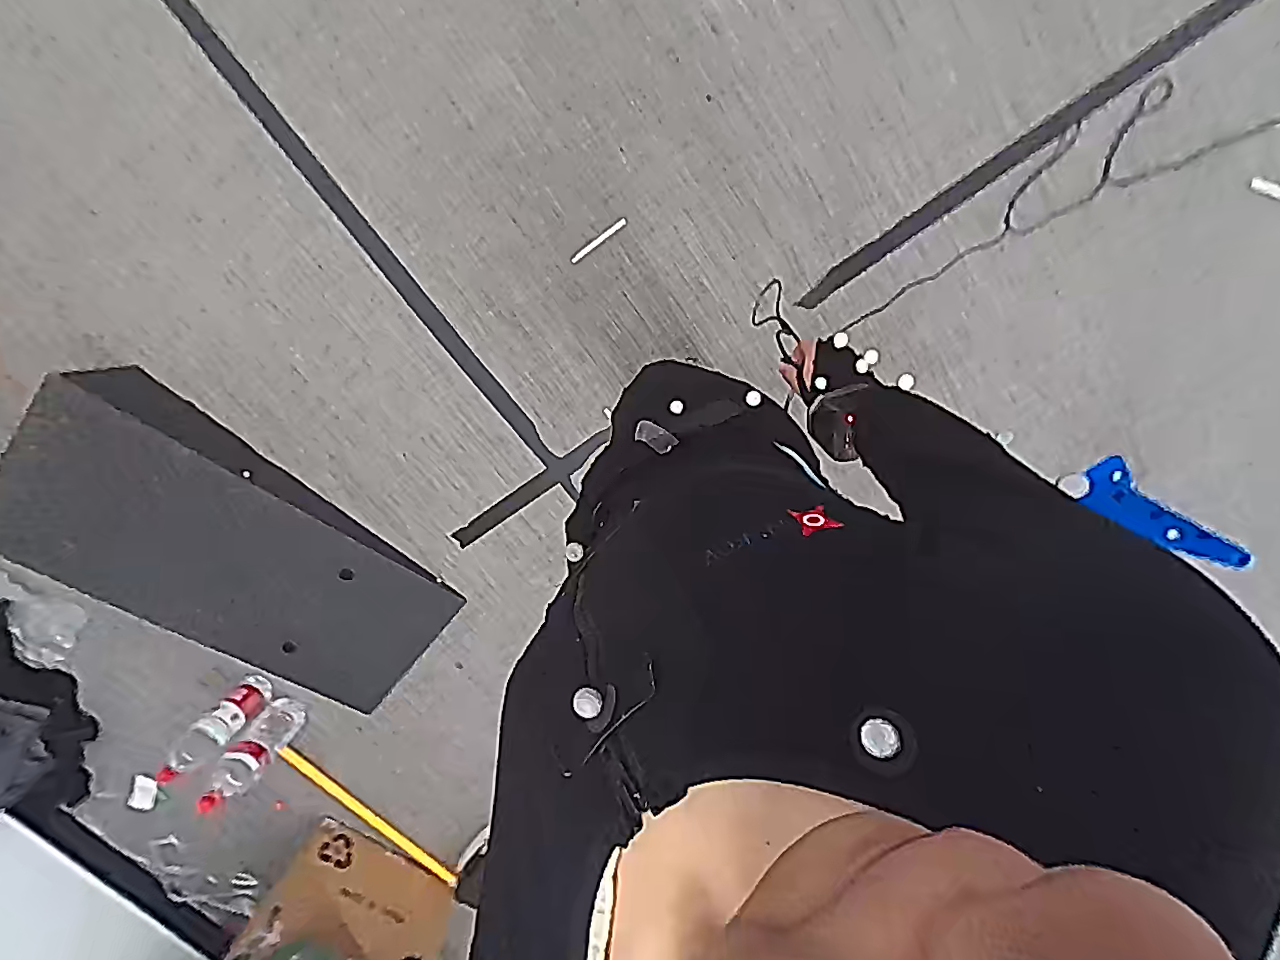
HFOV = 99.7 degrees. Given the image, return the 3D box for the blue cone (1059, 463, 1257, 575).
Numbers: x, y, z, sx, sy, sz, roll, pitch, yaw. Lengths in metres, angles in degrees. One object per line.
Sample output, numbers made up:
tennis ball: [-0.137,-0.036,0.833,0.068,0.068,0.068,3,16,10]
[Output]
blue cone: [1.213,0.113,1.260,0.193,0.380,0.192,-34,105,9]
